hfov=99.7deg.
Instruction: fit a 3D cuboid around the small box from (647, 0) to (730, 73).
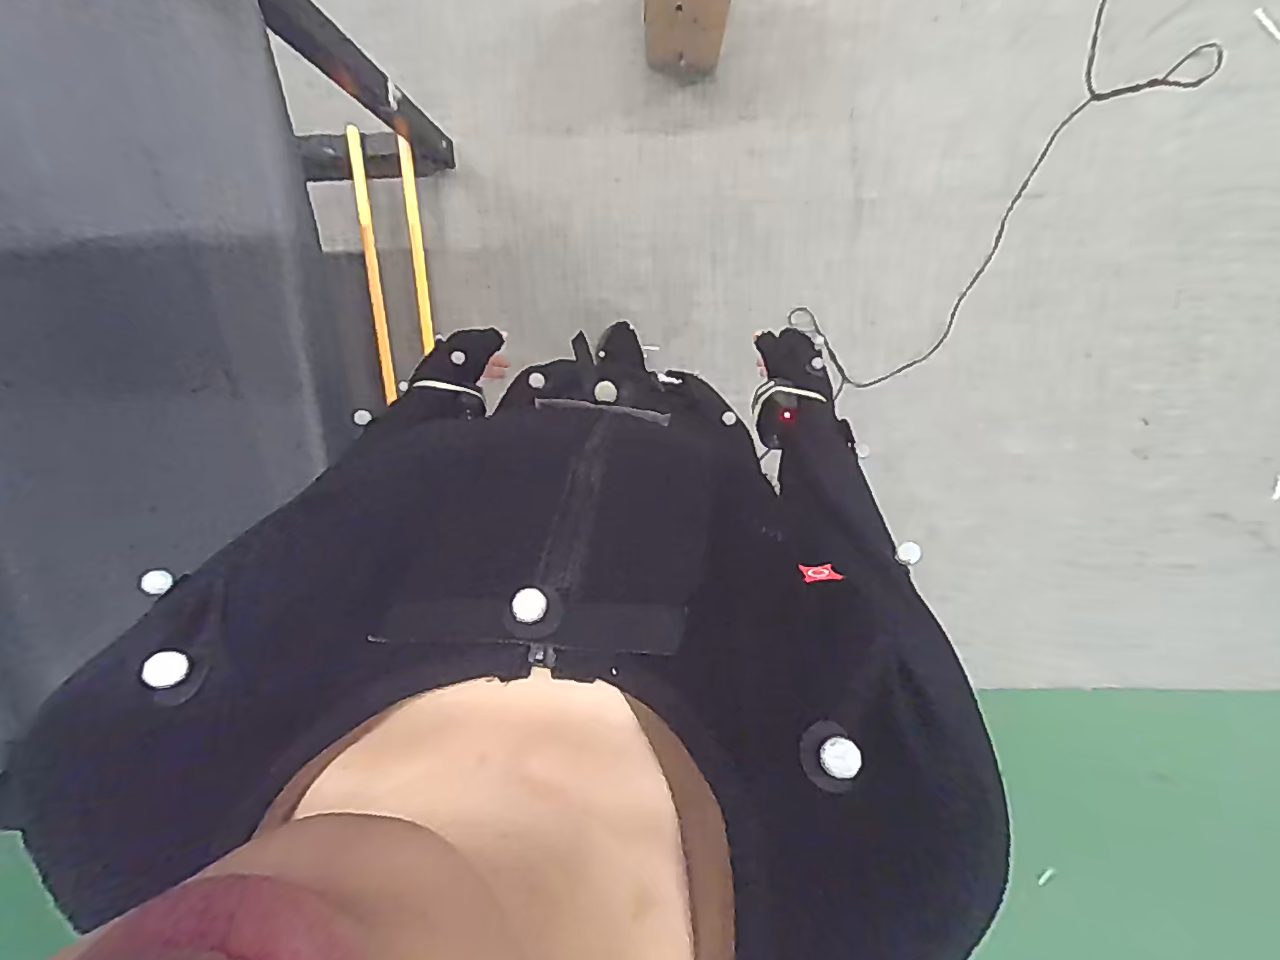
[{"bbox_3d":[0.103,-1.014,1.153,0.168,0.176,0.179,5,105,1],"label":"small box"}]
